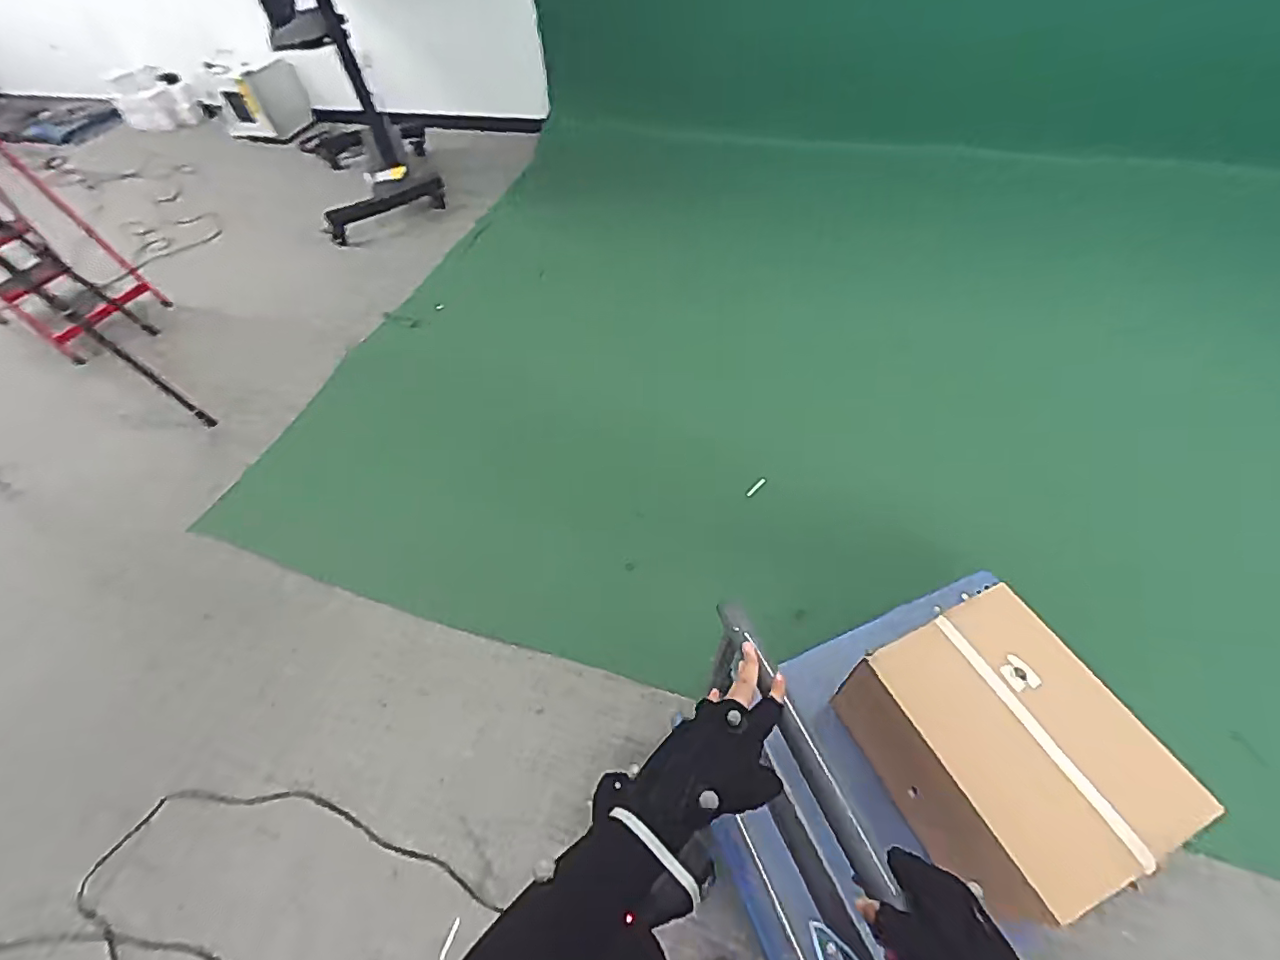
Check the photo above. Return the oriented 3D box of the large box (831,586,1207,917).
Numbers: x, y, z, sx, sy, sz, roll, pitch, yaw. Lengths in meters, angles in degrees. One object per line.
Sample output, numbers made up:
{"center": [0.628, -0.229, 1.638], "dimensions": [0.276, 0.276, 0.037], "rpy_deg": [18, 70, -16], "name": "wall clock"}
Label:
{"center": [0.621, 0.481, 0.985], "dimensions": [0.320, 0.320, 0.408], "rpy_deg": [-23, 54, -12], "name": "large box"}
